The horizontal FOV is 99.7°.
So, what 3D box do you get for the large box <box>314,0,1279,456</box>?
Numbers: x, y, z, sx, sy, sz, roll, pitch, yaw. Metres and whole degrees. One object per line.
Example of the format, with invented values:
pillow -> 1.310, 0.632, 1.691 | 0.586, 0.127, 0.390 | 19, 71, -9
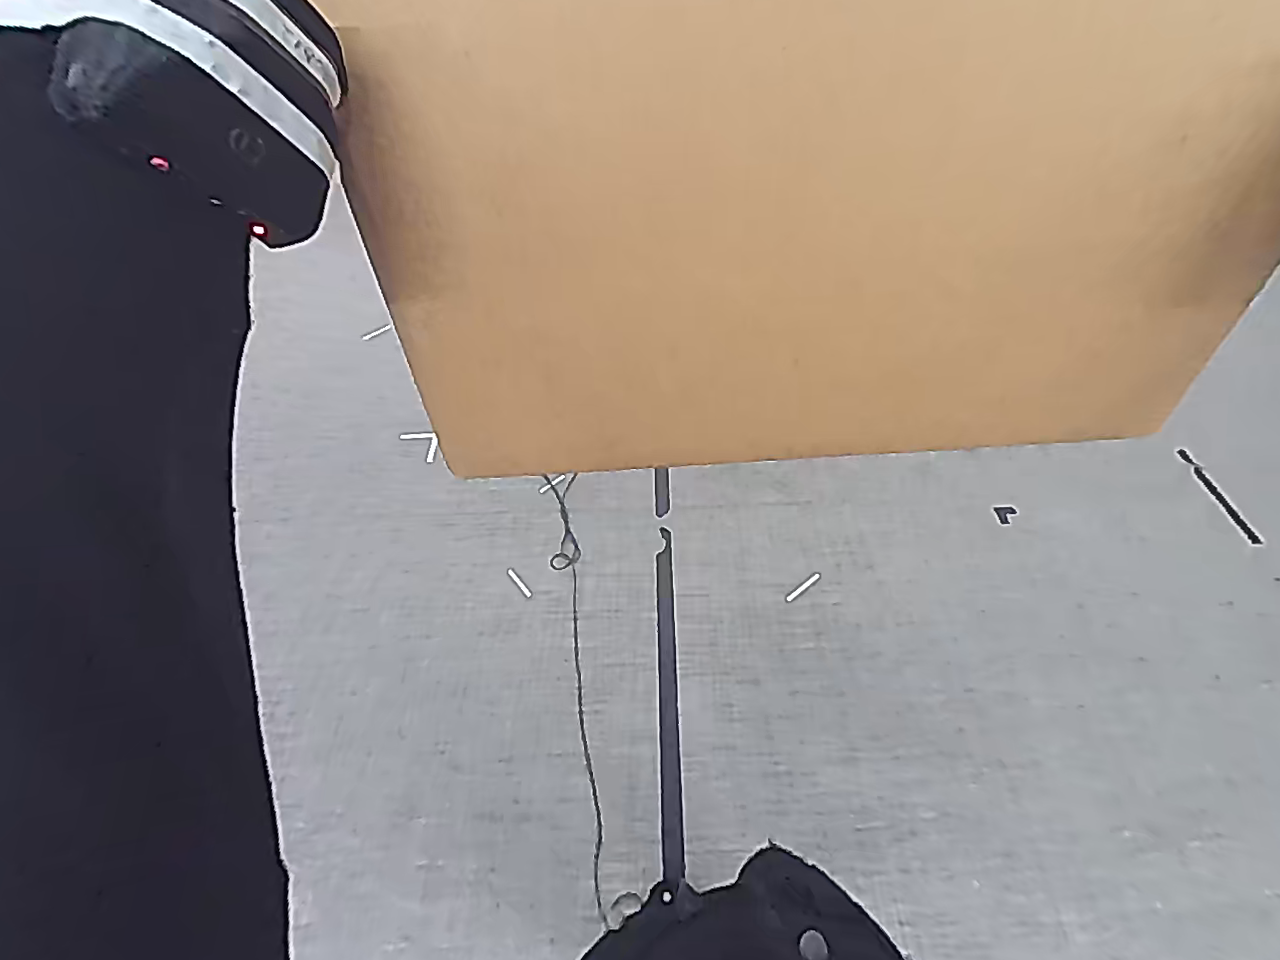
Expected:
large box -> 0.077, -0.234, 0.330 | 0.408, 0.320, 0.320 | -3, 41, -1
